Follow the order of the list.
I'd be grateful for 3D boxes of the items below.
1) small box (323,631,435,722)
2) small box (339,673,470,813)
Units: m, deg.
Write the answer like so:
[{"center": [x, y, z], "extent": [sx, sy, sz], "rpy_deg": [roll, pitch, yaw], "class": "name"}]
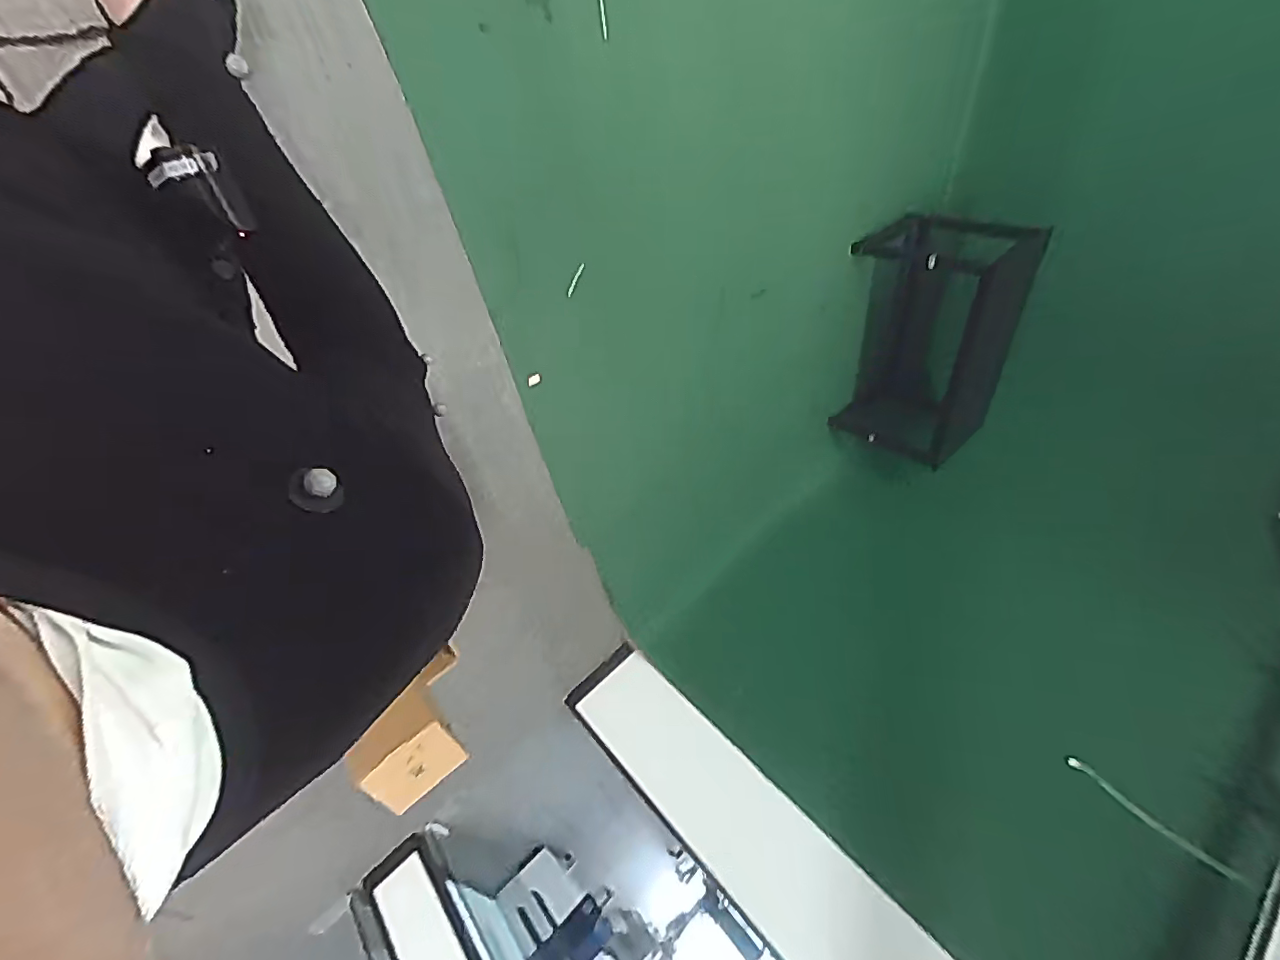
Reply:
[{"center": [-0.593, 0.485, 1.248], "extent": [0.168, 0.176, 0.179], "rpy_deg": [-34, 134, -24], "class": "small box"}, {"center": [-0.491, 0.543, 1.132], "extent": [0.168, 0.176, 0.179], "rpy_deg": [-36, 134, -23], "class": "small box"}]
